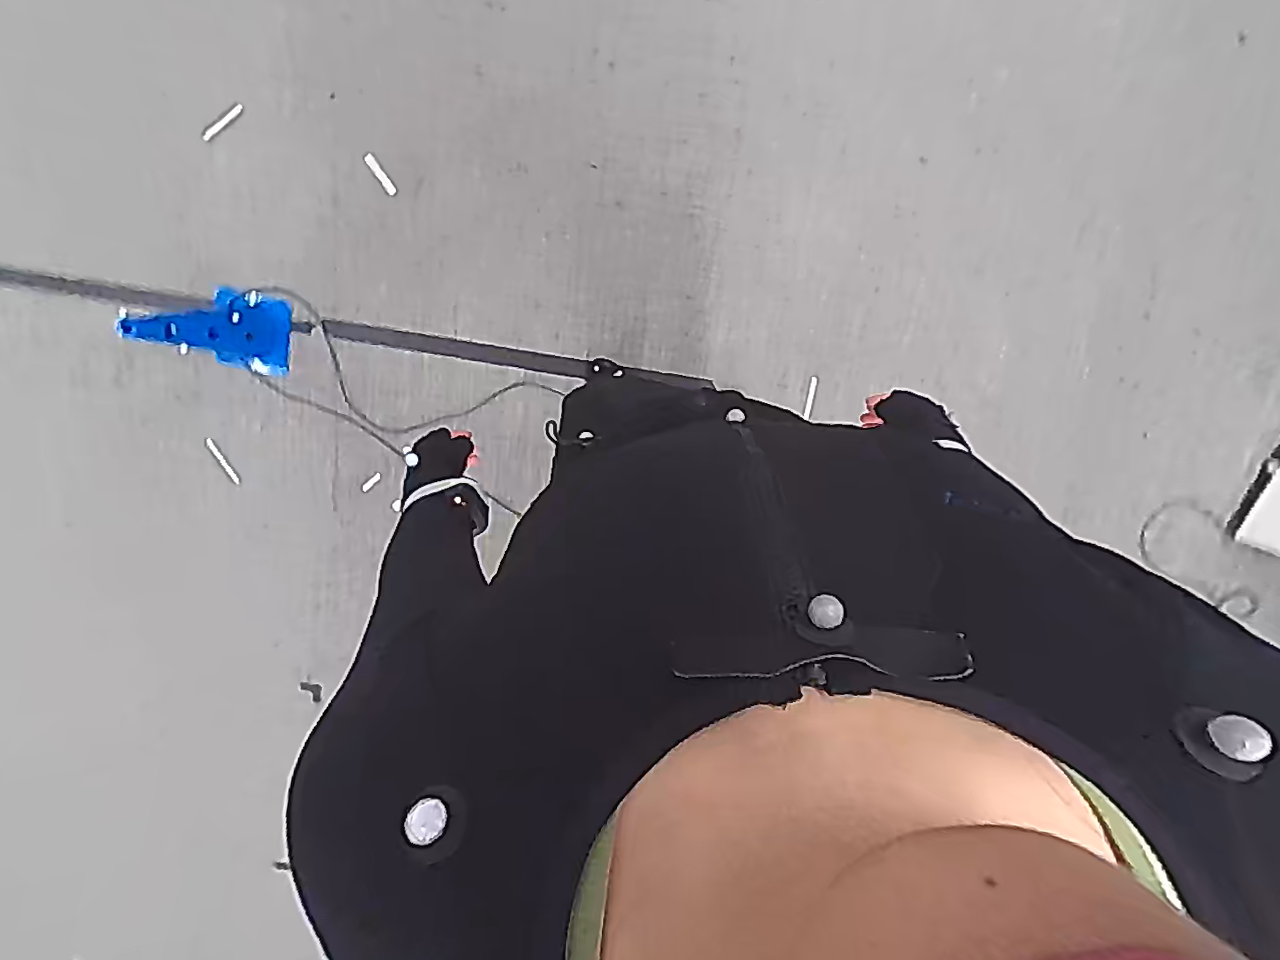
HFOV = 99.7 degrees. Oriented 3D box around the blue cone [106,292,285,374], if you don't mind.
[{"bbox_3d":[-1.026,-0.339,1.251,0.192,0.380,0.193,12,105,-1],"label":"blue cone"}]
